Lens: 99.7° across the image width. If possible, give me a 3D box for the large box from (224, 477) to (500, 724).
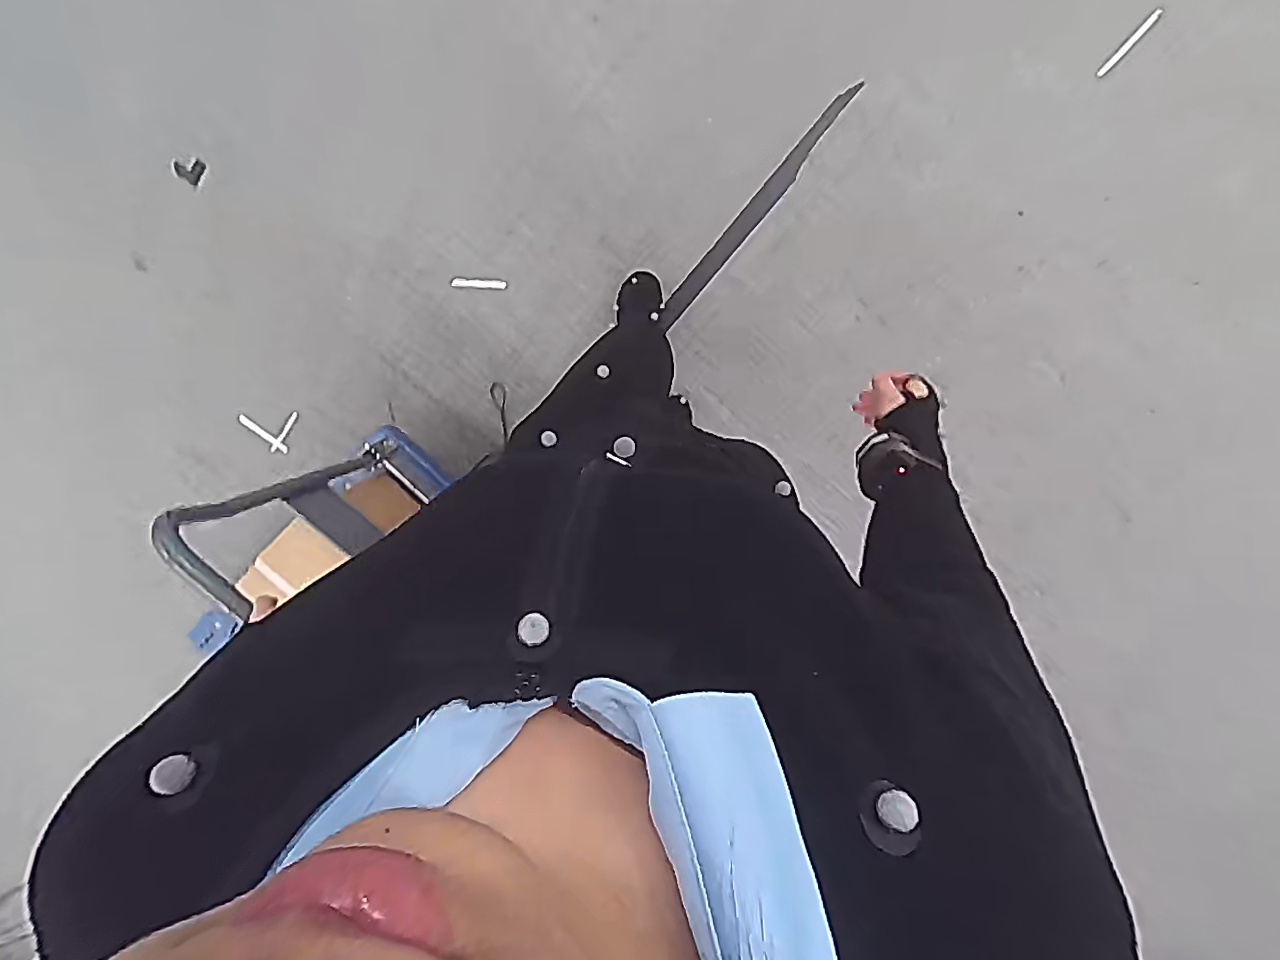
[{"bbox_3d":[-0.610,0.261,1.260,0.320,0.320,0.408,-43,98,11],"label":"large box"}]
